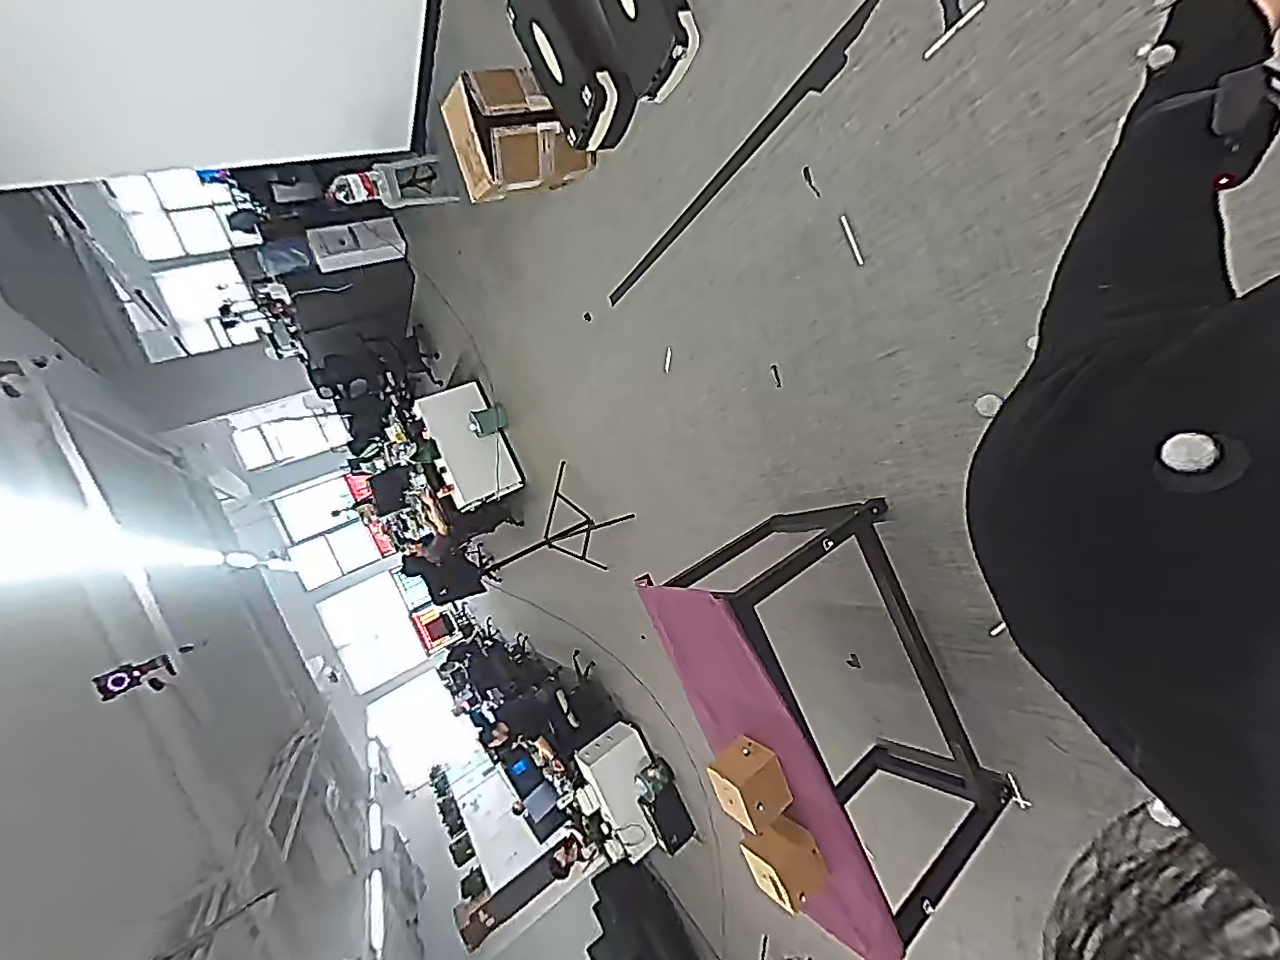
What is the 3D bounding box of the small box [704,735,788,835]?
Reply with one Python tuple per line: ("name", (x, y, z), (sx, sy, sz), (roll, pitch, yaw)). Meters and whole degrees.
("small box", (0.335, 0.947, 1.694), (0.168, 0.176, 0.179), (-4, 109, 60))
